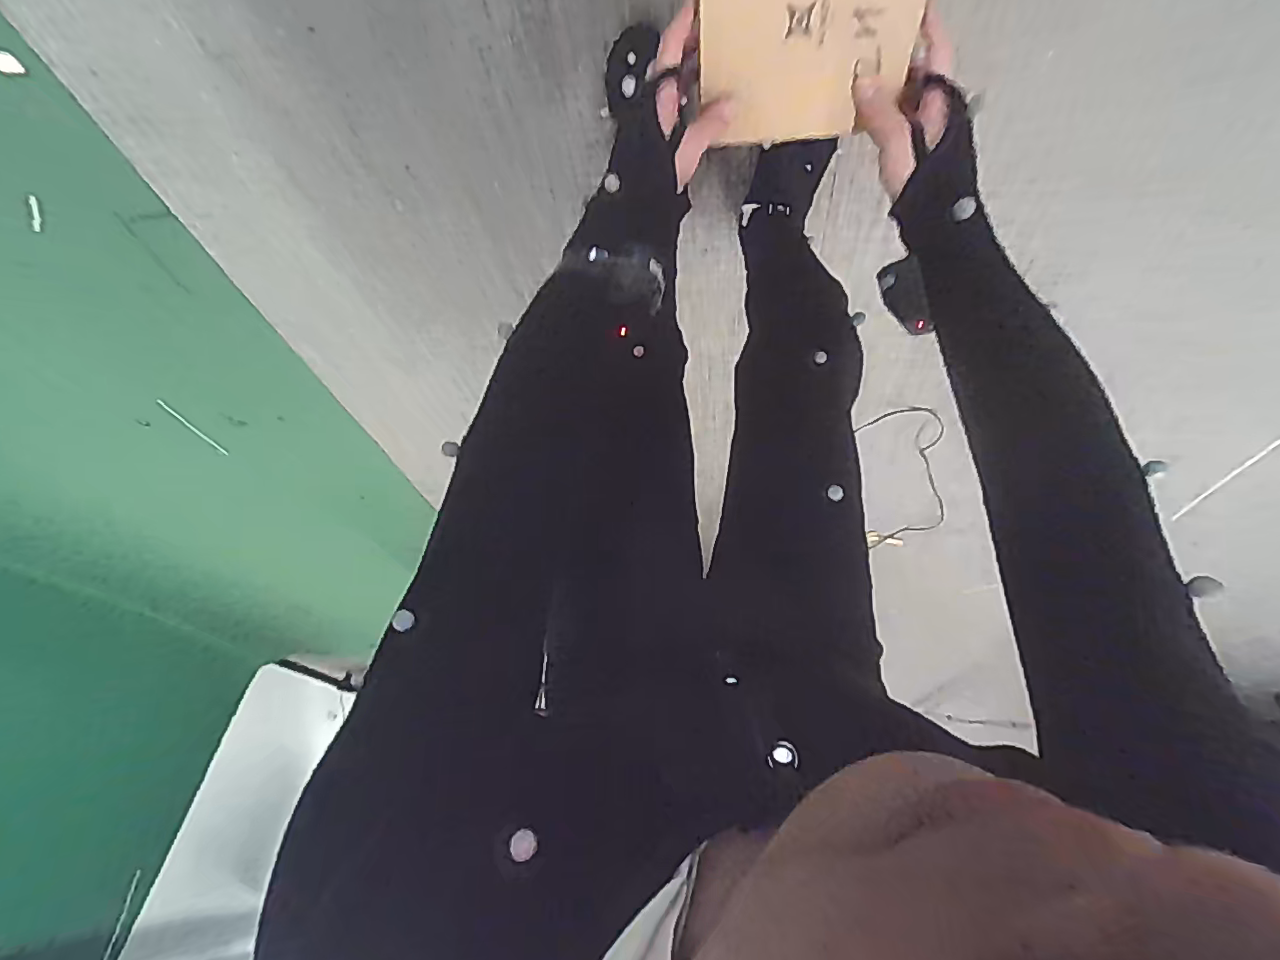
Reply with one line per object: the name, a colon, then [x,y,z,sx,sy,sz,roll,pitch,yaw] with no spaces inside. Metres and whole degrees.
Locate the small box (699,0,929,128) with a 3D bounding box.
small box: [0.140,-0.432,0.471,0.179,0.176,0.168,-1,141,5]
